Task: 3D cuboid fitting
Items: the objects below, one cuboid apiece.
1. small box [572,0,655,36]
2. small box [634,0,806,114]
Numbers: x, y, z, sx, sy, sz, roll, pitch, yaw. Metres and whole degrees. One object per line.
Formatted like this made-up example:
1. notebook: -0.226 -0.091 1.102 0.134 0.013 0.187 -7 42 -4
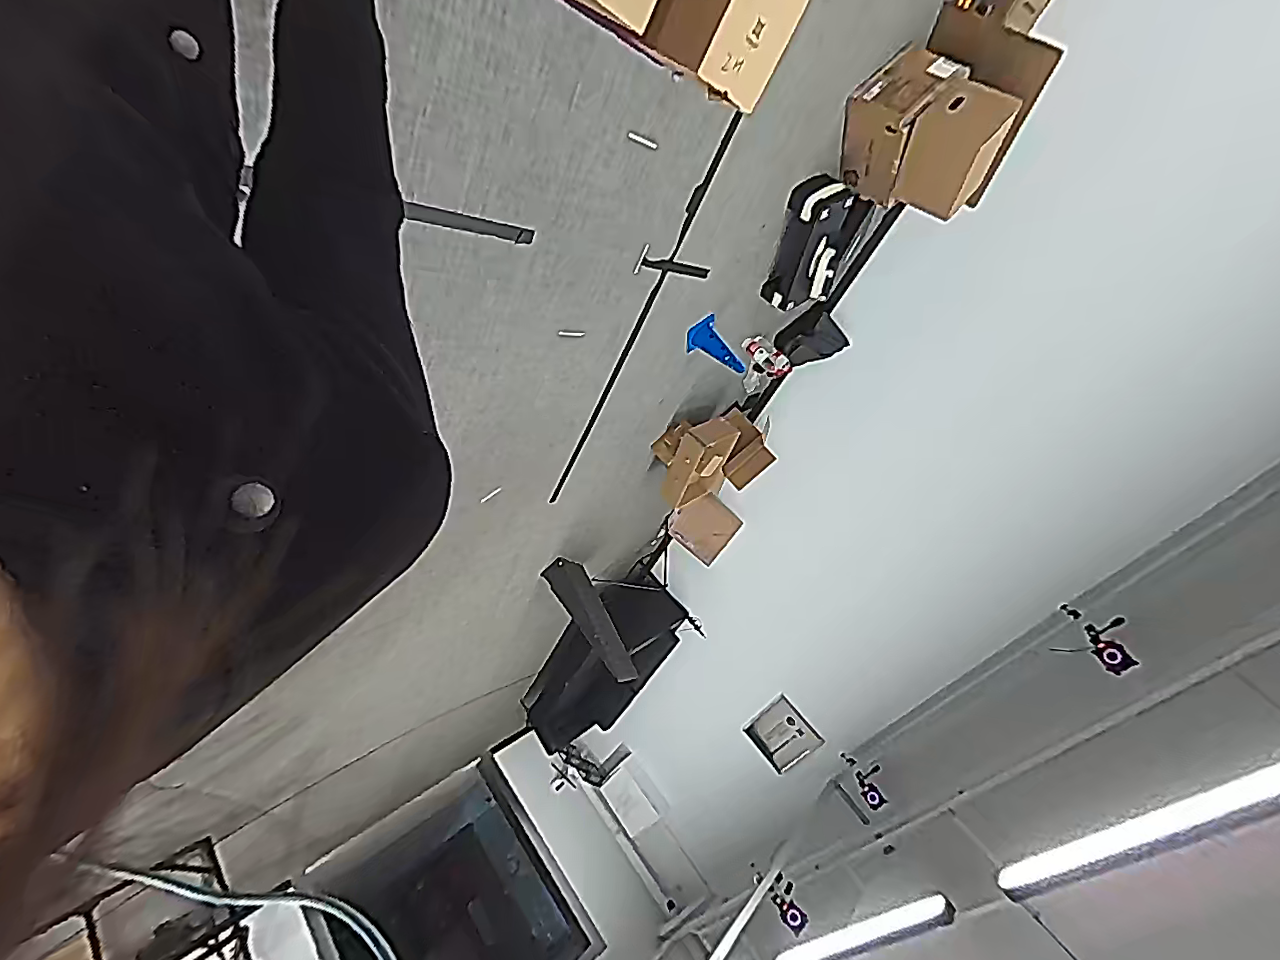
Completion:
1. small box: -0.064 -0.686 0.634 0.168 0.176 0.179 -13 143 -49
2. small box: 0.119 -0.729 0.849 0.168 0.176 0.179 -12 141 -50
